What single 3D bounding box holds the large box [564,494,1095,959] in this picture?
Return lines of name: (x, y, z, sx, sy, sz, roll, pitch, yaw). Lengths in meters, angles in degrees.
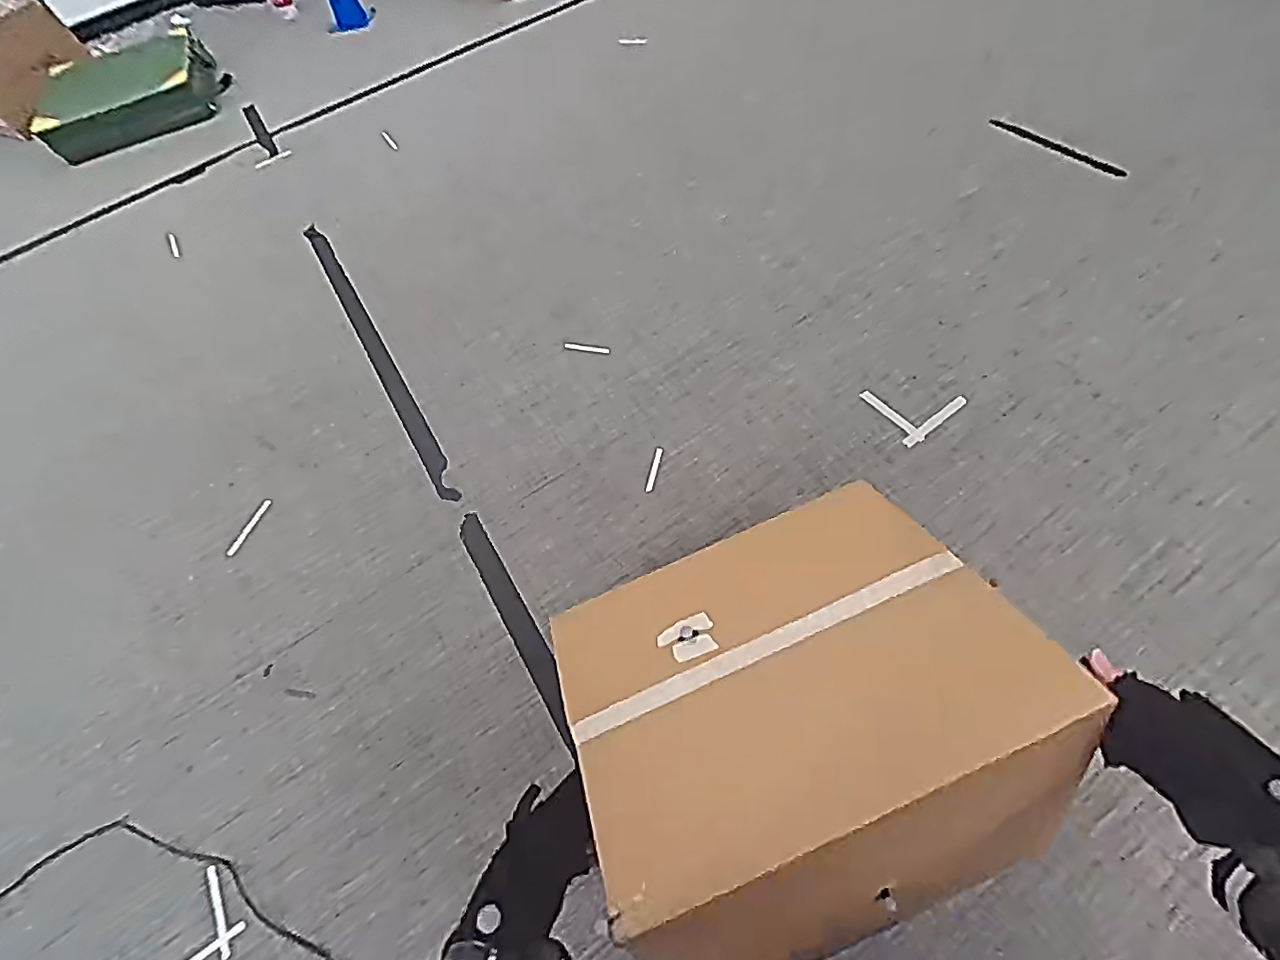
large box: (0.179, 0.287, 0.608, 0.408, 0.320, 0.320, -25, 35, -3)
